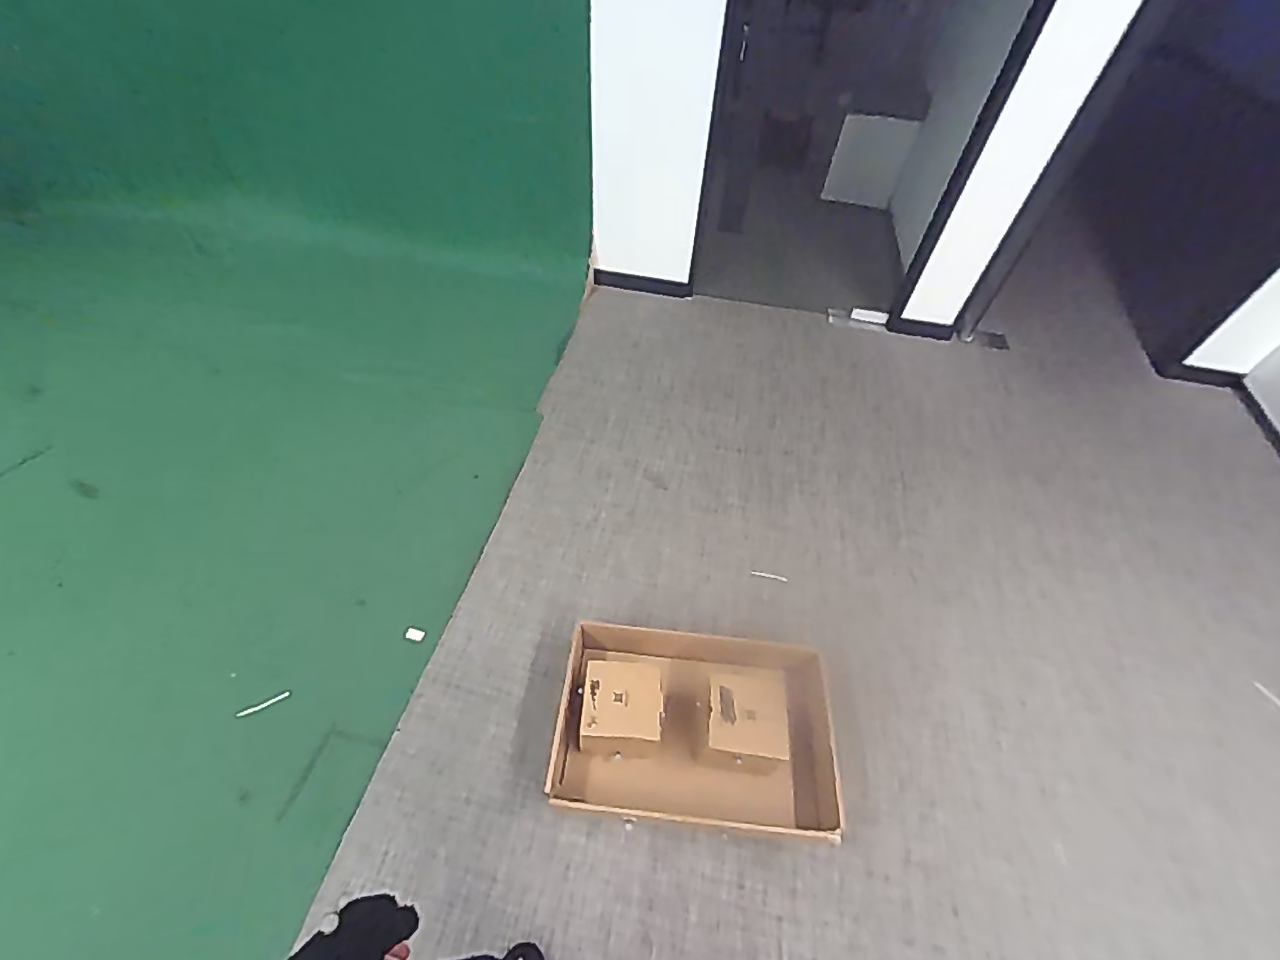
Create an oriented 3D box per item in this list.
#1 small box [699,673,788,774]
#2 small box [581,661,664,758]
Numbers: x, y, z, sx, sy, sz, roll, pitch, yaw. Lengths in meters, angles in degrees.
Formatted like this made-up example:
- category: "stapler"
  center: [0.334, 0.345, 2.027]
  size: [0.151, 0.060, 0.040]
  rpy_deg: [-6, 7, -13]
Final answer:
- category: "small box"
  center: [0.236, 0.572, 1.263]
  size: [0.179, 0.176, 0.168]
  rpy_deg: [7, 51, 3]
- category: "small box"
  center: [-0.043, 0.541, 1.268]
  size: [0.179, 0.176, 0.168]
  rpy_deg: [5, 50, -2]
